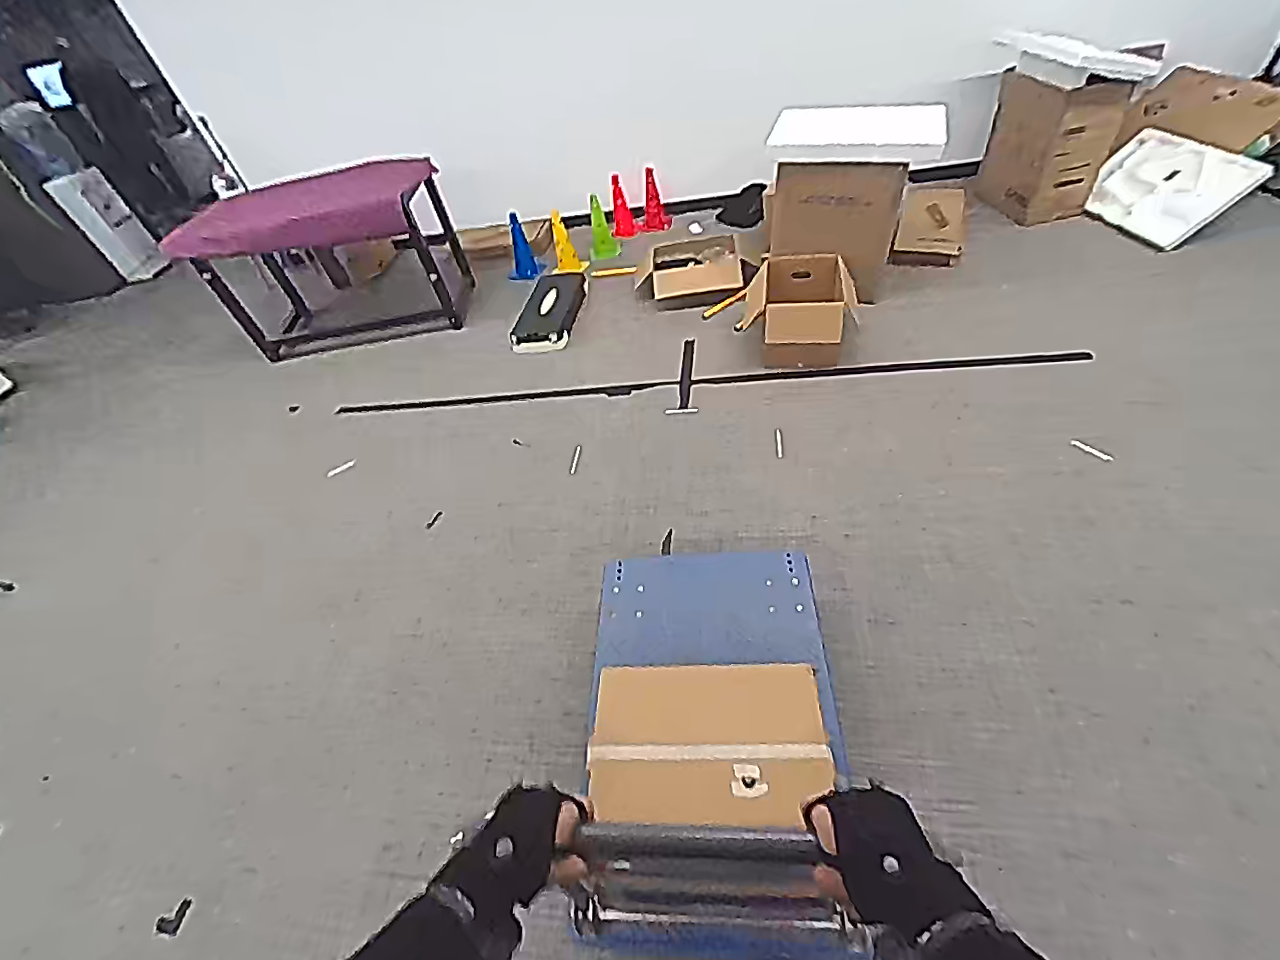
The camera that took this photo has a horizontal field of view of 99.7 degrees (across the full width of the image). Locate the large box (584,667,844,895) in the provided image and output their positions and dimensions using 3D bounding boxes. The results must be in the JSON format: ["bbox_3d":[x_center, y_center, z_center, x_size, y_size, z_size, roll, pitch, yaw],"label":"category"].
[{"bbox_3d":[0.131,0.573,1.026,0.408,0.320,0.320,-3,46,8],"label":"large box"}]
